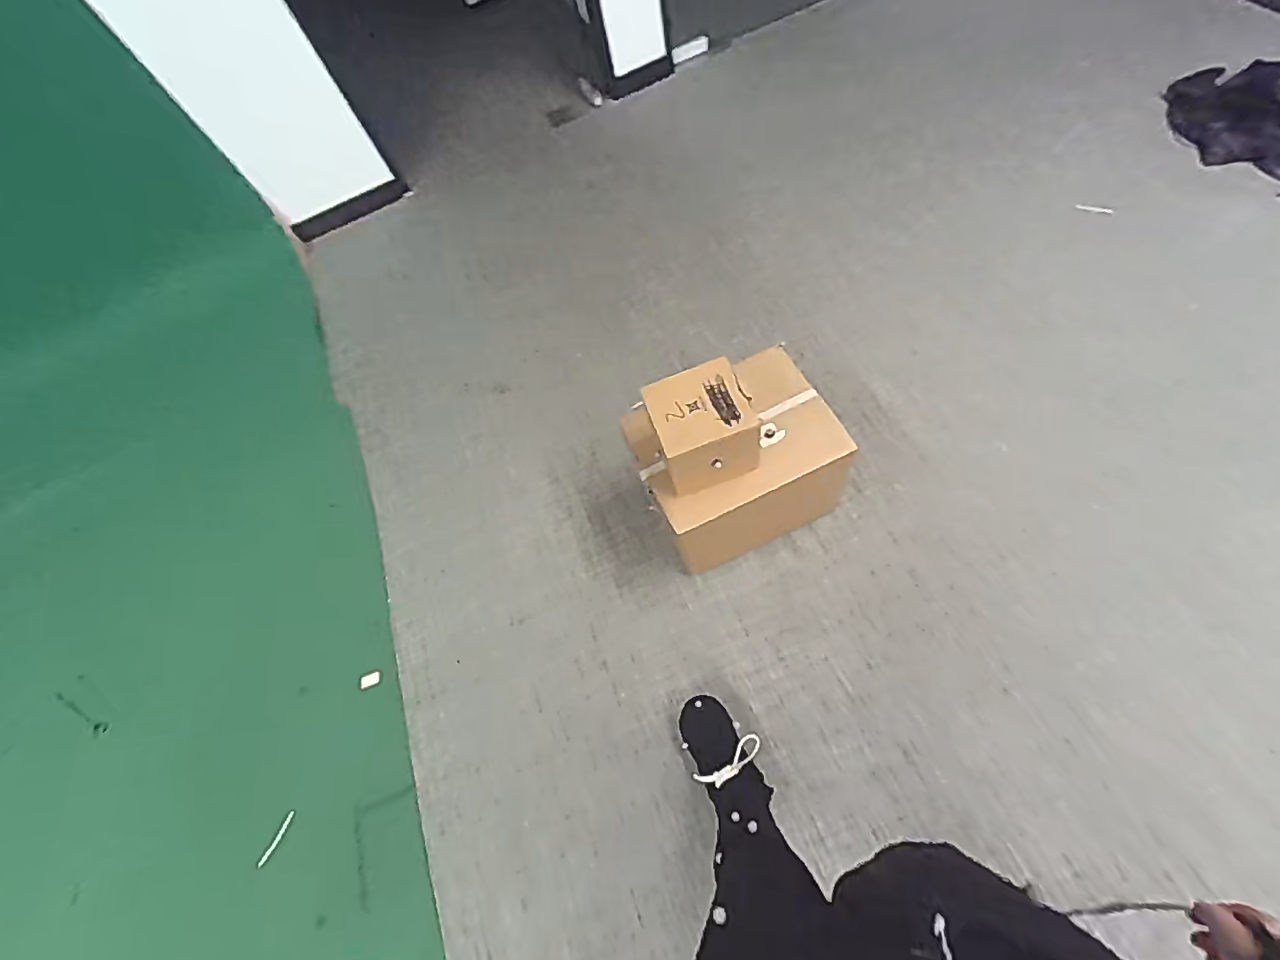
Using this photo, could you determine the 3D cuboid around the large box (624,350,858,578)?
[{"bbox_3d":[0.222,-0.024,1.266,0.408,0.320,0.320,-25,63,-3],"label":"large box"}]
